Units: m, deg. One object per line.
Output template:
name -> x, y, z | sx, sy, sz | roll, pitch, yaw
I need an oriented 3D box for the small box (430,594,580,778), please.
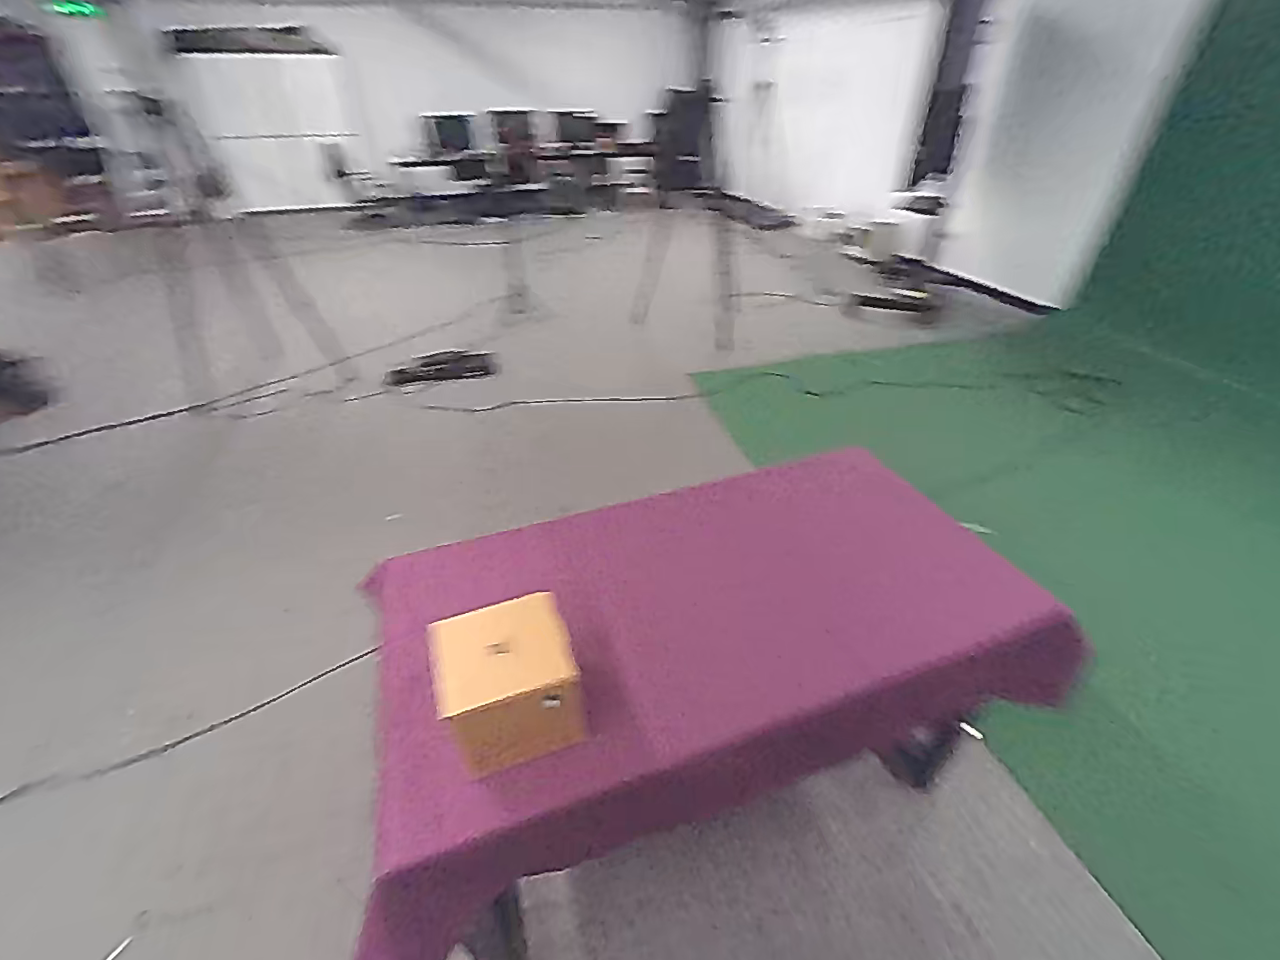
small box -> -0.200, 0.308, 0.812 | 0.179, 0.176, 0.168 | -14, 37, -18
